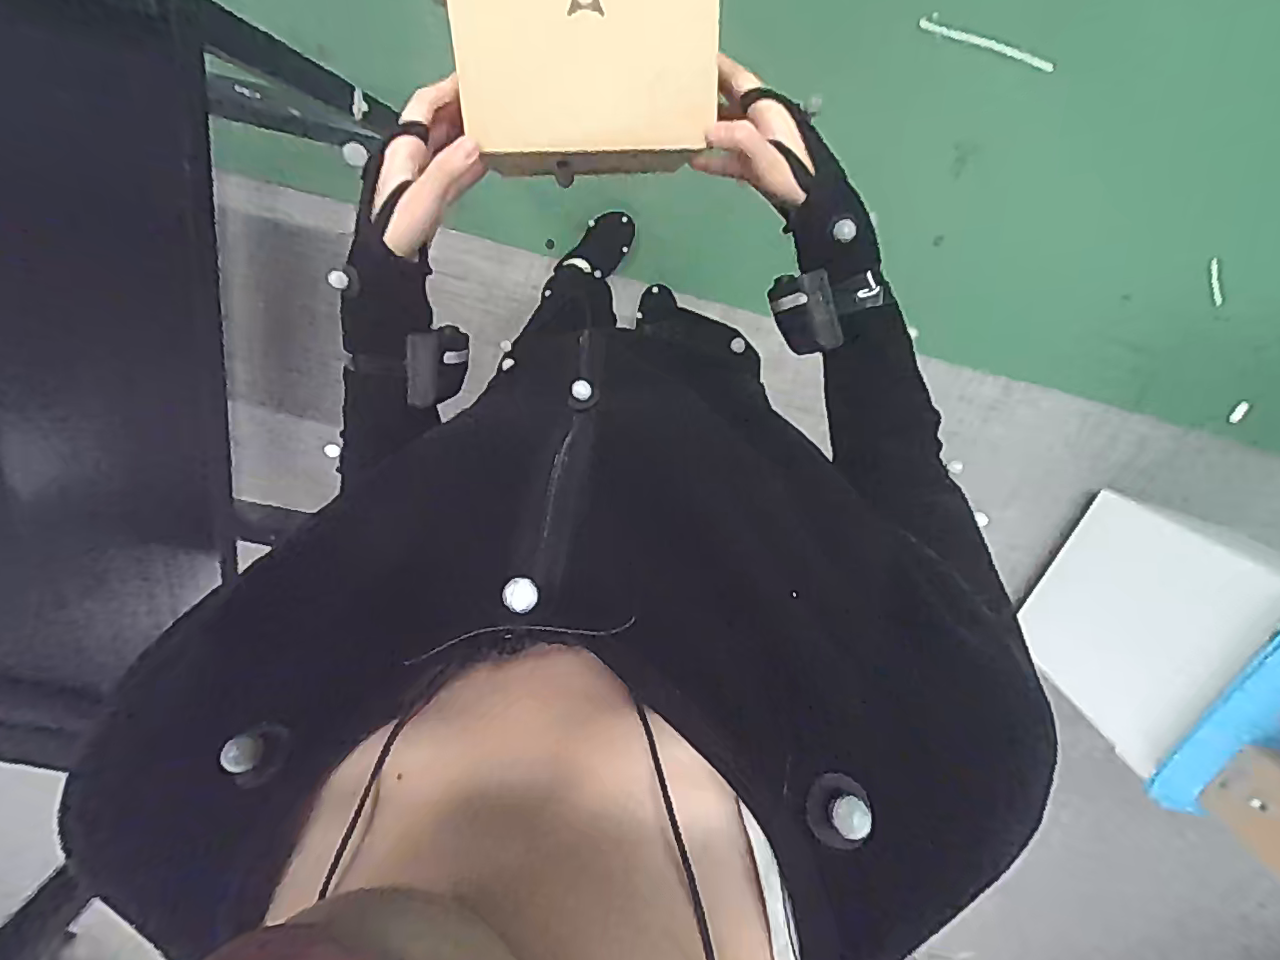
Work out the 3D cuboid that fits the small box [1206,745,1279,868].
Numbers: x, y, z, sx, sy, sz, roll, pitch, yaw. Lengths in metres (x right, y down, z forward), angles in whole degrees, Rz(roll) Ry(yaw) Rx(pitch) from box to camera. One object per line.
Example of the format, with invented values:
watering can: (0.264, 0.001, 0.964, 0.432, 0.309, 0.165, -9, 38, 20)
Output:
small box: (1.273, 0.642, 1.036, 0.179, 0.176, 0.168, 15, 110, -5)
